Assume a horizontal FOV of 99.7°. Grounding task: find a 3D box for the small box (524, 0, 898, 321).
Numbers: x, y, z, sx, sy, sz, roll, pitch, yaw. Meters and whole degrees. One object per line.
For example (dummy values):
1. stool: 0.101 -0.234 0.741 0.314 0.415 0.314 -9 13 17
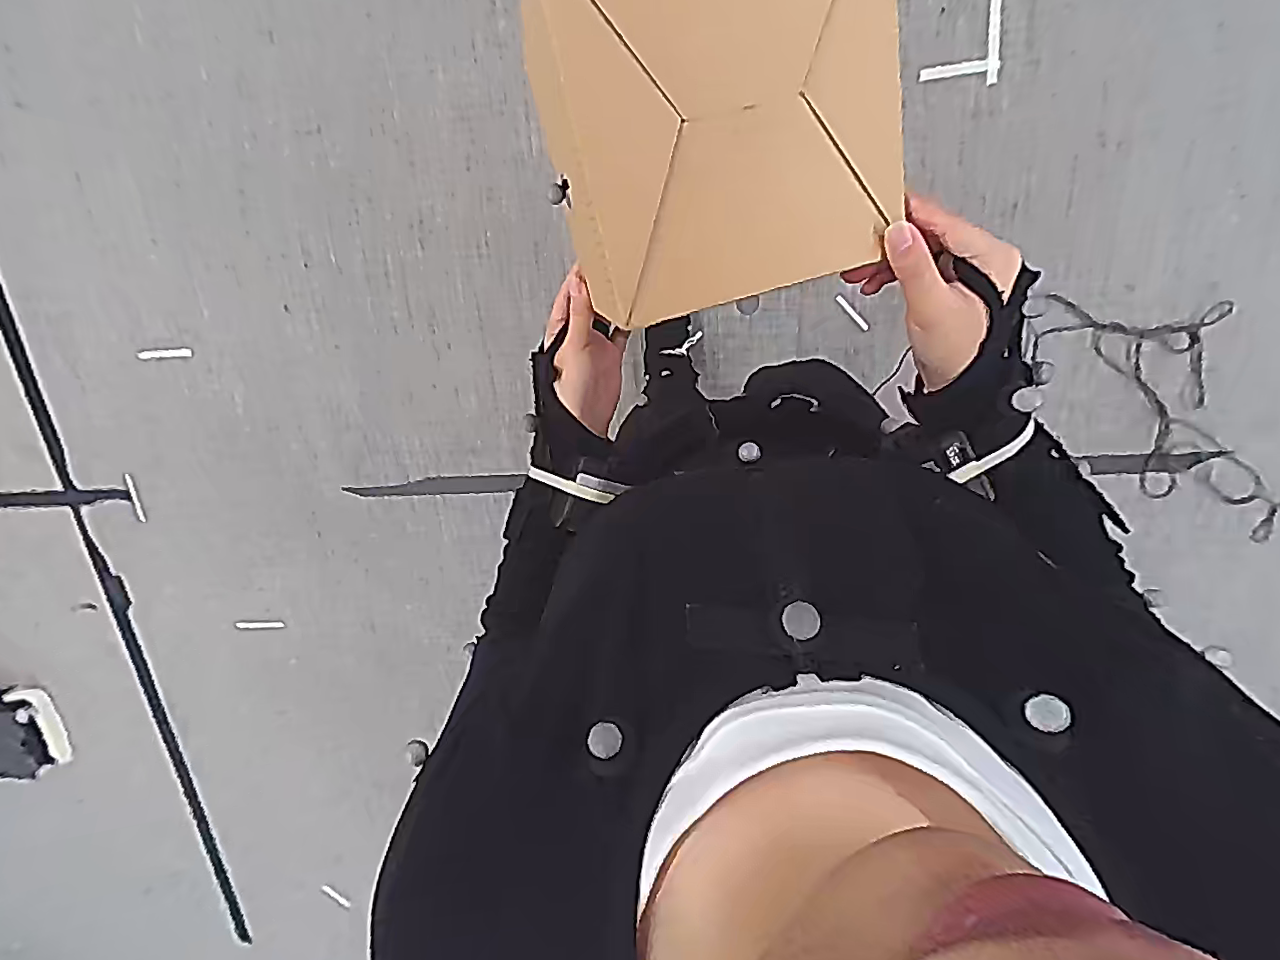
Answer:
1. small box: 0.035 -0.211 0.335 0.168 0.176 0.179 -17 113 -5
